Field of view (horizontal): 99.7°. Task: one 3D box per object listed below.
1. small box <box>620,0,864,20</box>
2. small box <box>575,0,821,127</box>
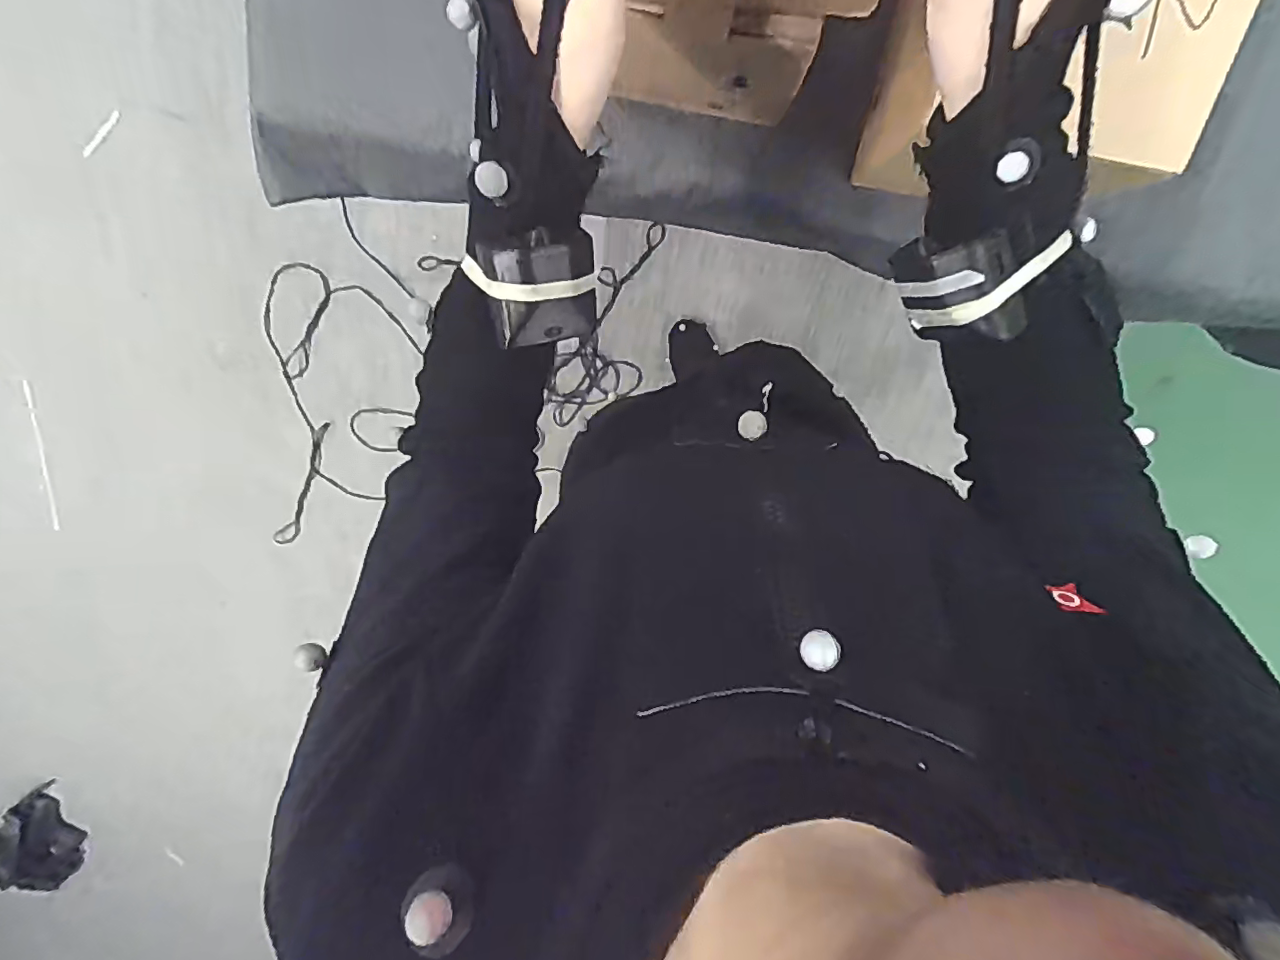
[{"bbox_3d":[0.060,-0.354,0.249,0.179,0.176,0.168,5,106,2],"label":"small box"},{"bbox_3d":[0.058,-0.398,0.408,0.168,0.176,0.179,11,107,1],"label":"small box"}]
